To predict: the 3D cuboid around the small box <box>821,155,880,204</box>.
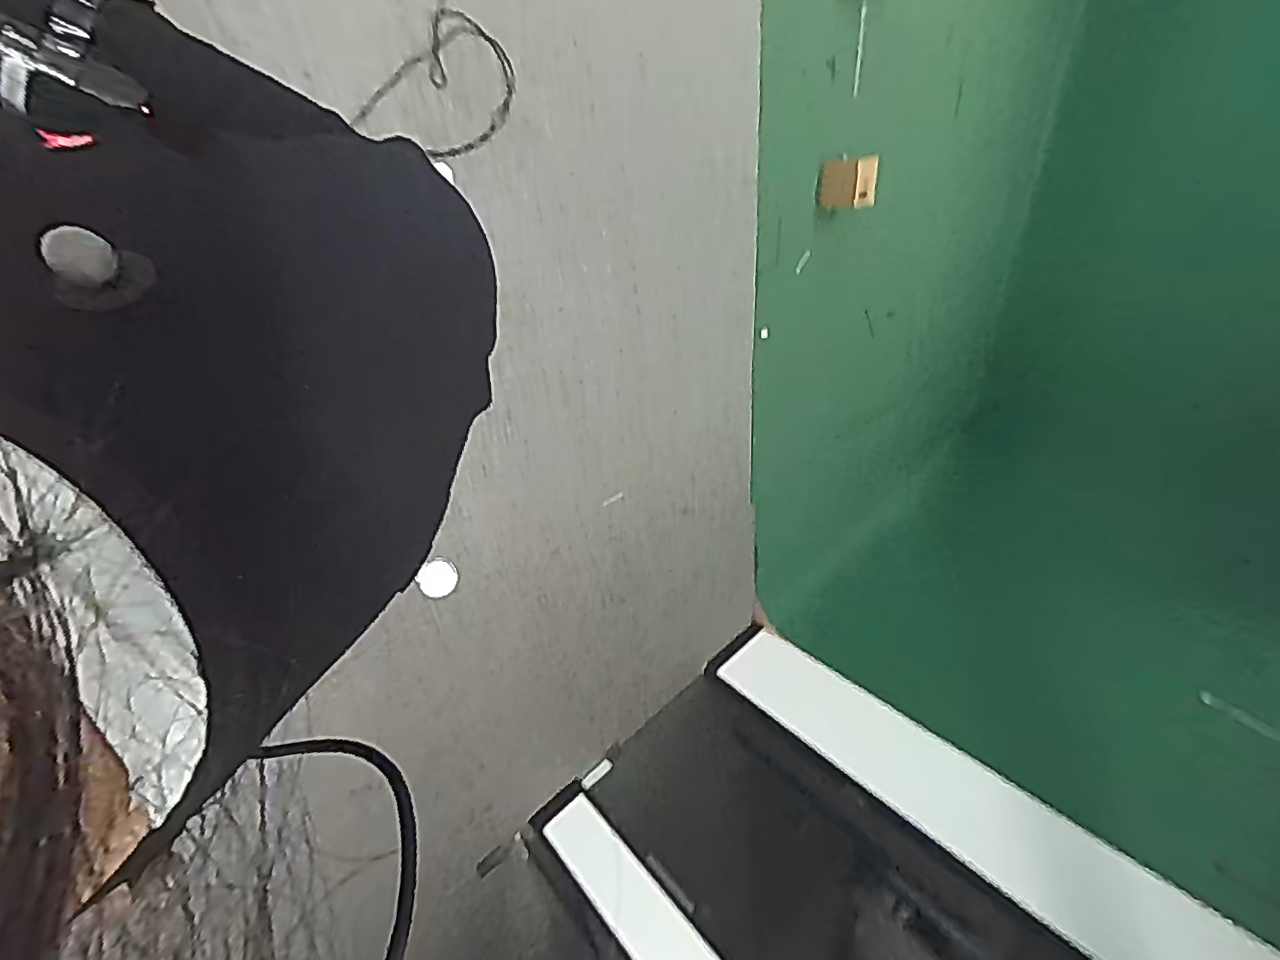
[{"bbox_3d":[0.906,-1.302,2.340,0.168,0.176,0.179,-27,128,-33],"label":"small box"}]
